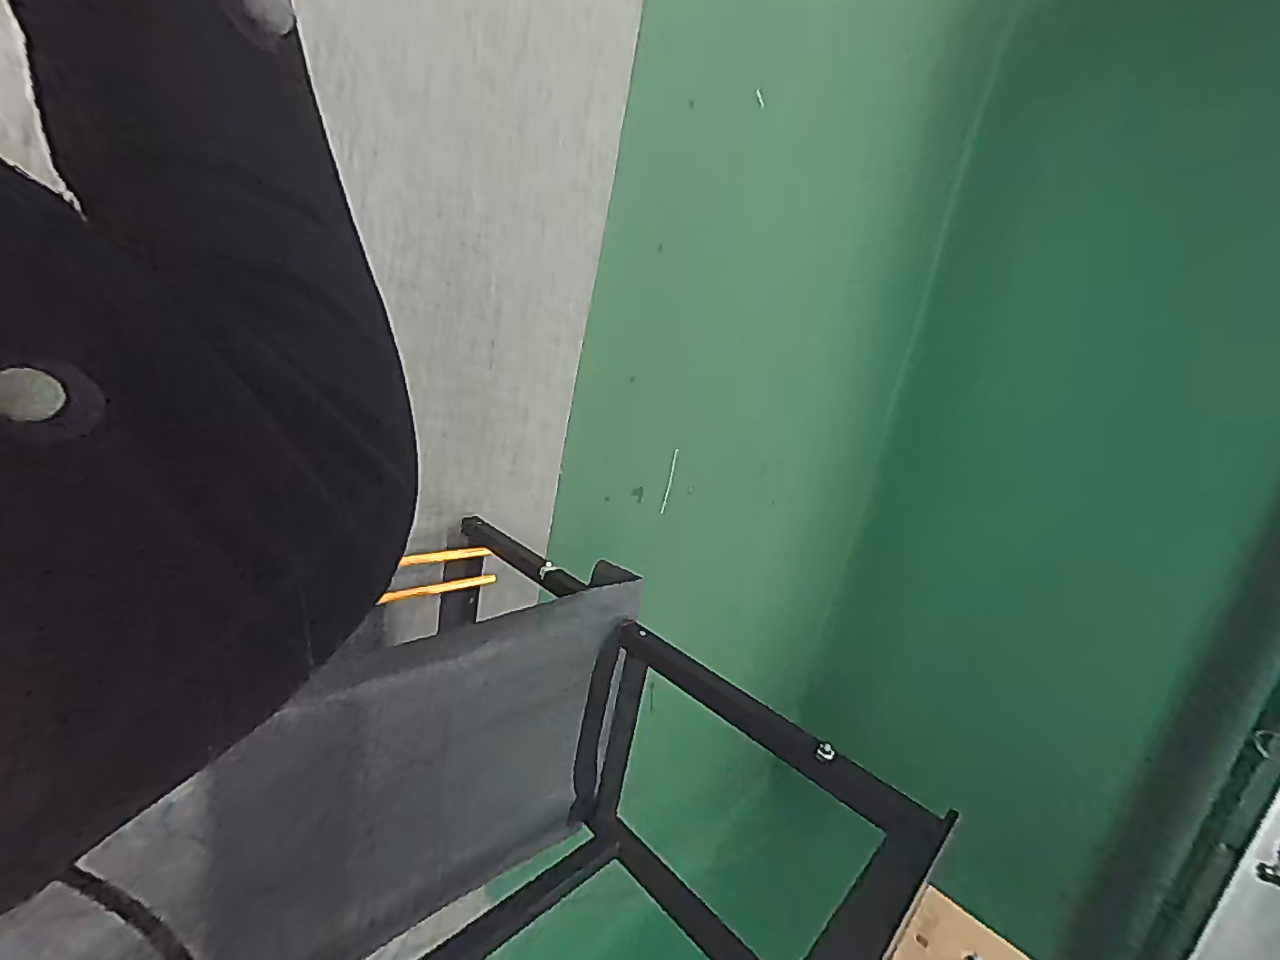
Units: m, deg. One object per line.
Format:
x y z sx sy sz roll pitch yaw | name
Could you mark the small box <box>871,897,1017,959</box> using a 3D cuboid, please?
0.391 0.705 0.712 0.168 0.176 0.179 -2 109 -47 | small box
